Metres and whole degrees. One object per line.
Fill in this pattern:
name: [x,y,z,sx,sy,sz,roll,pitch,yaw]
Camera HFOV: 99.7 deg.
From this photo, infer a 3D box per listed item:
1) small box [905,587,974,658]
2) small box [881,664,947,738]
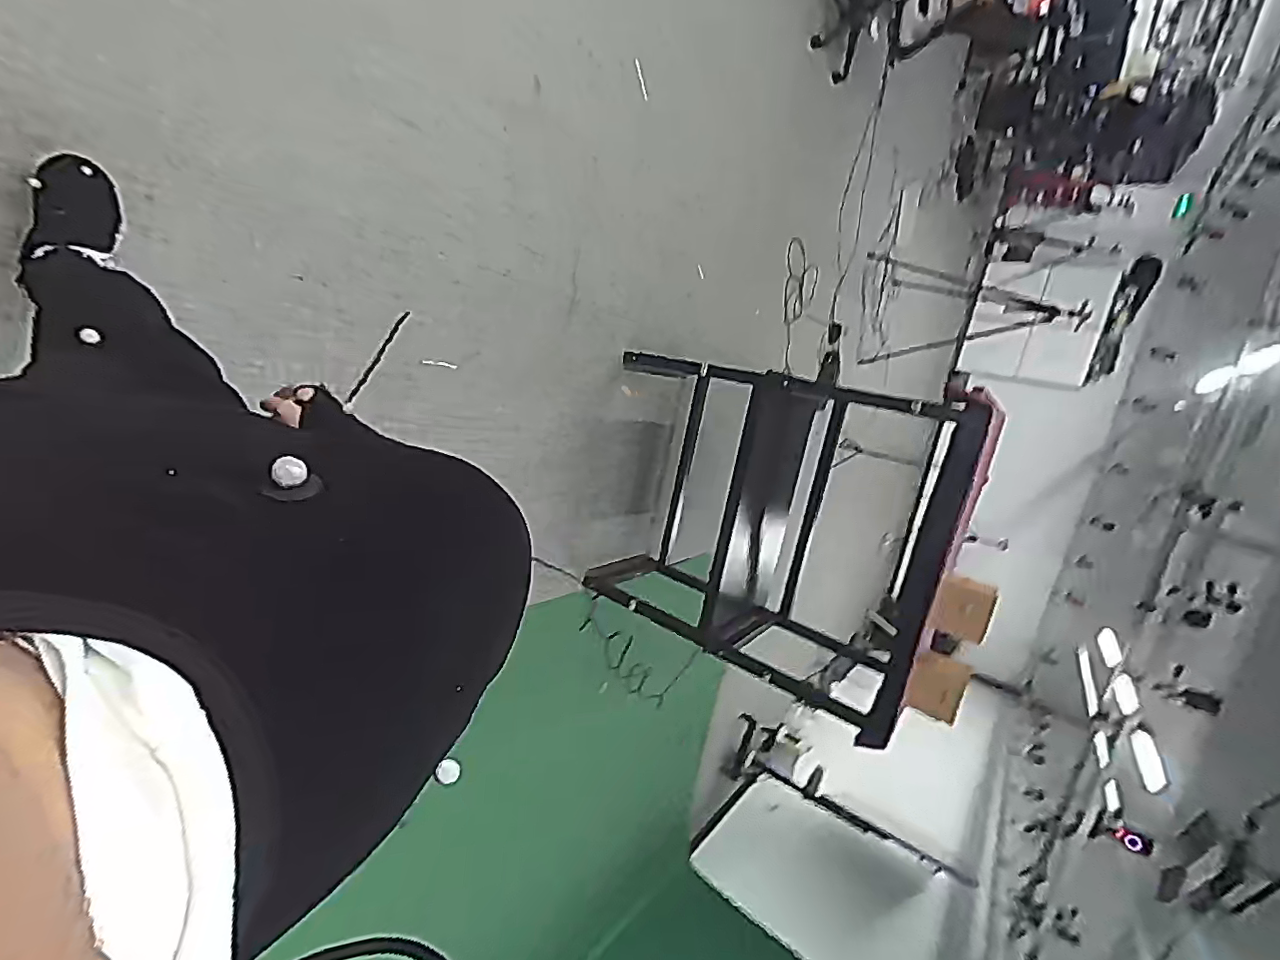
small box: [1.028,0.478,1.857,0.168,0.176,0.179,-1,106,-56]
small box: [0.973,0.775,1.925,0.168,0.176,0.179,2,103,-57]
